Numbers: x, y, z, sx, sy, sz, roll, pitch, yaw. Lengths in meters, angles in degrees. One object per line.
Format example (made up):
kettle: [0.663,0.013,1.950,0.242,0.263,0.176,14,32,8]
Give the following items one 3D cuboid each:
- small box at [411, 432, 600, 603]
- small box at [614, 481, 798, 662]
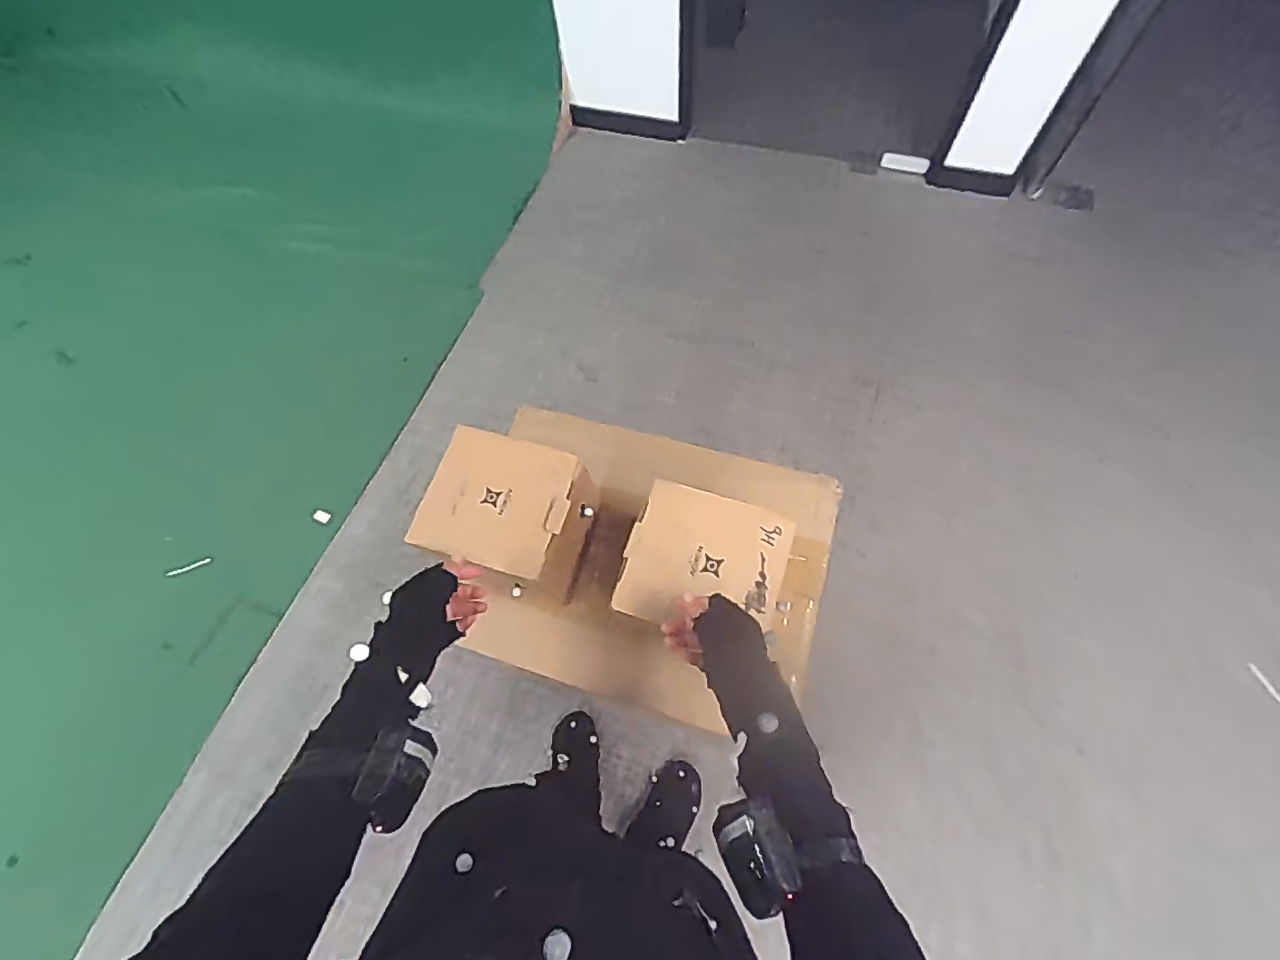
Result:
small box: [-0.166,0.060,0.740,0.179,0.176,0.168,14,69,11]
small box: [0.084,0.125,0.692,0.179,0.176,0.168,16,71,11]
